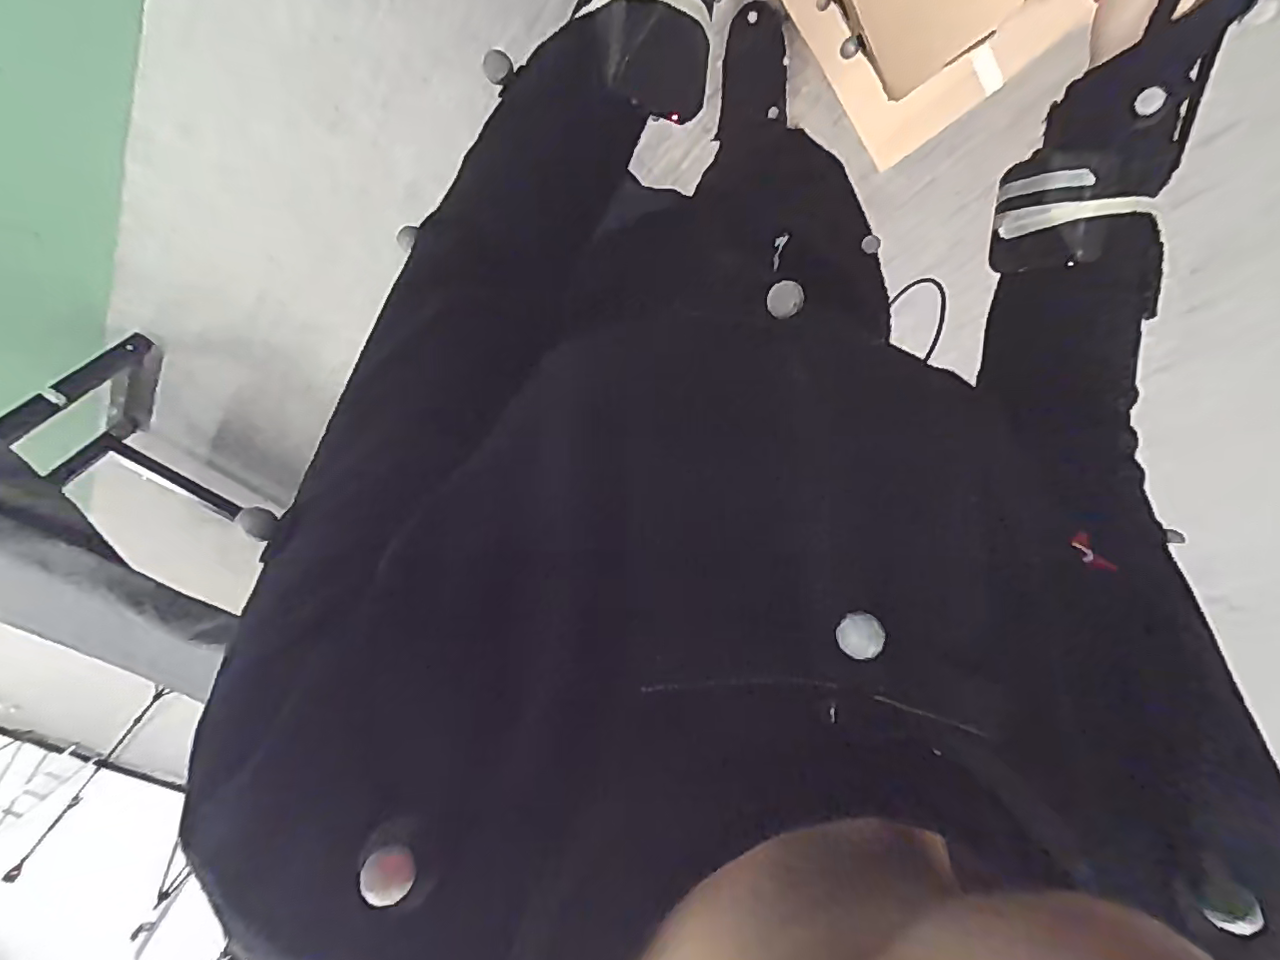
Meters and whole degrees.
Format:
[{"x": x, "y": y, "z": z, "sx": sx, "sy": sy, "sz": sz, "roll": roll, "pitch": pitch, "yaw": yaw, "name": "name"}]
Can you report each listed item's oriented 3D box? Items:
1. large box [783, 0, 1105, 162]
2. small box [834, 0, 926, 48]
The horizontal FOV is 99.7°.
[{"x": 0.359, "y": -0.747, "z": 0.725, "sx": 0.320, "sy": 0.320, "sz": 0.408, "roll": -28, "pitch": 124, "yaw": 37, "name": "large box"}, {"x": 0.215, "y": -0.499, "z": 0.426, "sx": 0.179, "sy": 0.176, "sz": 0.168, "roll": -26, "pitch": 126, "yaw": 34, "name": "small box"}]
